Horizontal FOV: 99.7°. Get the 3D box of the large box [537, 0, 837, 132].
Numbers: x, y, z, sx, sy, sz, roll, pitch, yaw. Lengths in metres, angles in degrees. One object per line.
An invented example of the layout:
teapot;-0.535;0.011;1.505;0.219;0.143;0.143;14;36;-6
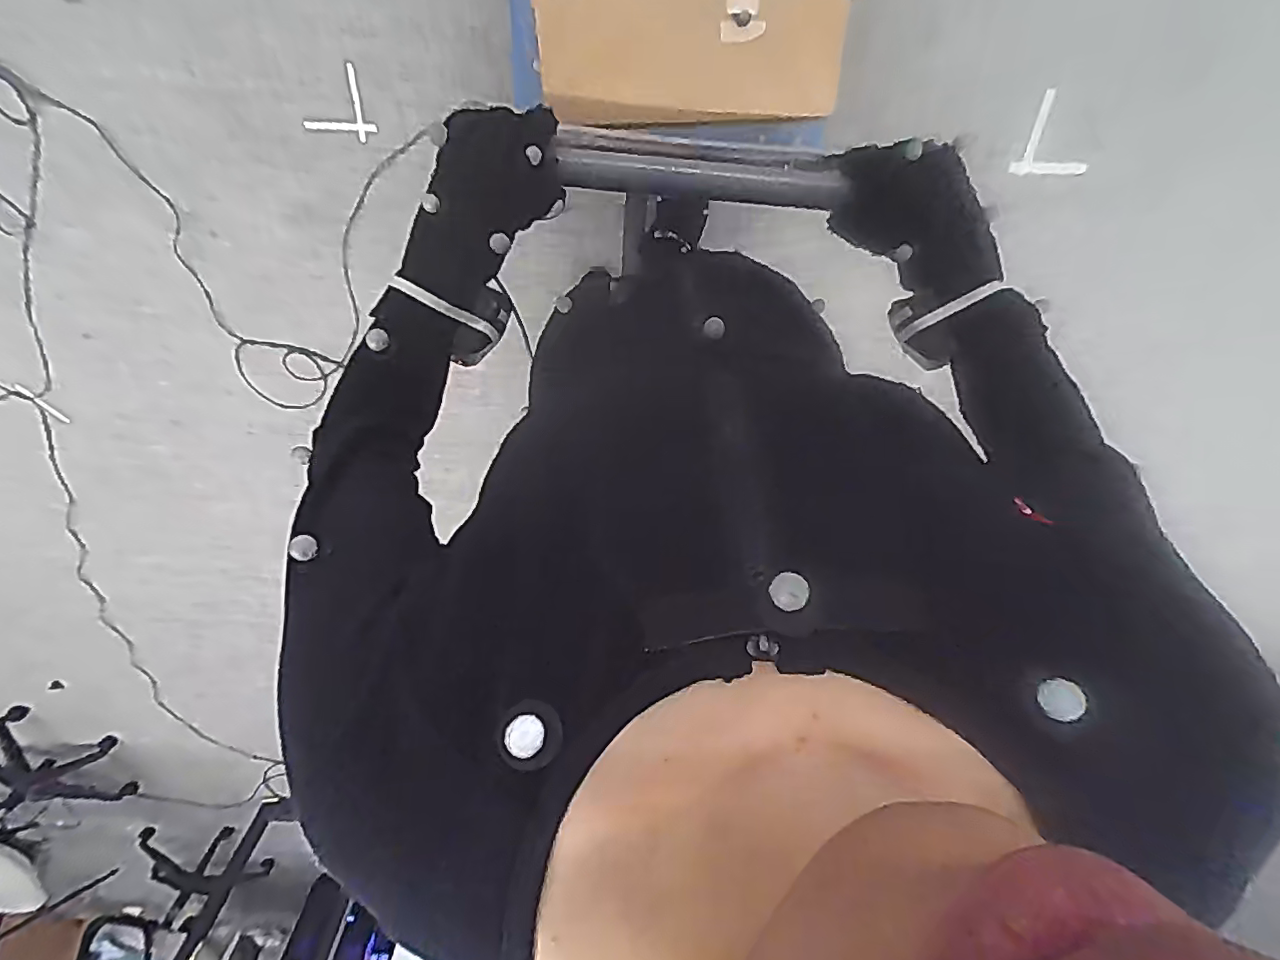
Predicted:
large box;0.055;-0.728;0.821;0.408;0.320;0.320;-2;121;-1
